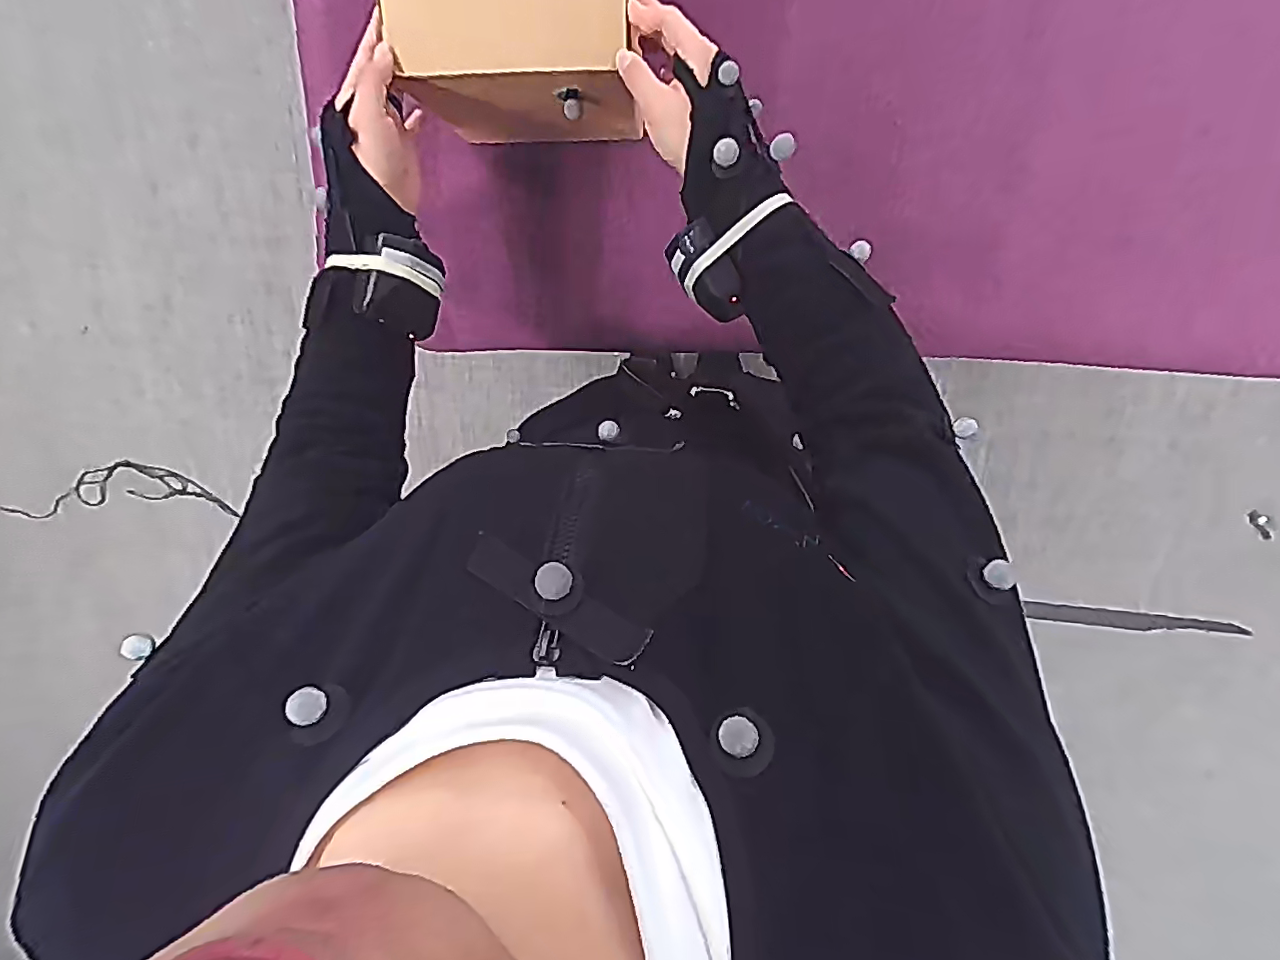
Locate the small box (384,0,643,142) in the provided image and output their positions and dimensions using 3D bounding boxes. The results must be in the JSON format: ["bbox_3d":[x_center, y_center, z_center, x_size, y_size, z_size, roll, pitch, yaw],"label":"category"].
[{"bbox_3d":[-0.087,-0.390,0.436,0.179,0.176,0.168,1,107,4],"label":"small box"}]
